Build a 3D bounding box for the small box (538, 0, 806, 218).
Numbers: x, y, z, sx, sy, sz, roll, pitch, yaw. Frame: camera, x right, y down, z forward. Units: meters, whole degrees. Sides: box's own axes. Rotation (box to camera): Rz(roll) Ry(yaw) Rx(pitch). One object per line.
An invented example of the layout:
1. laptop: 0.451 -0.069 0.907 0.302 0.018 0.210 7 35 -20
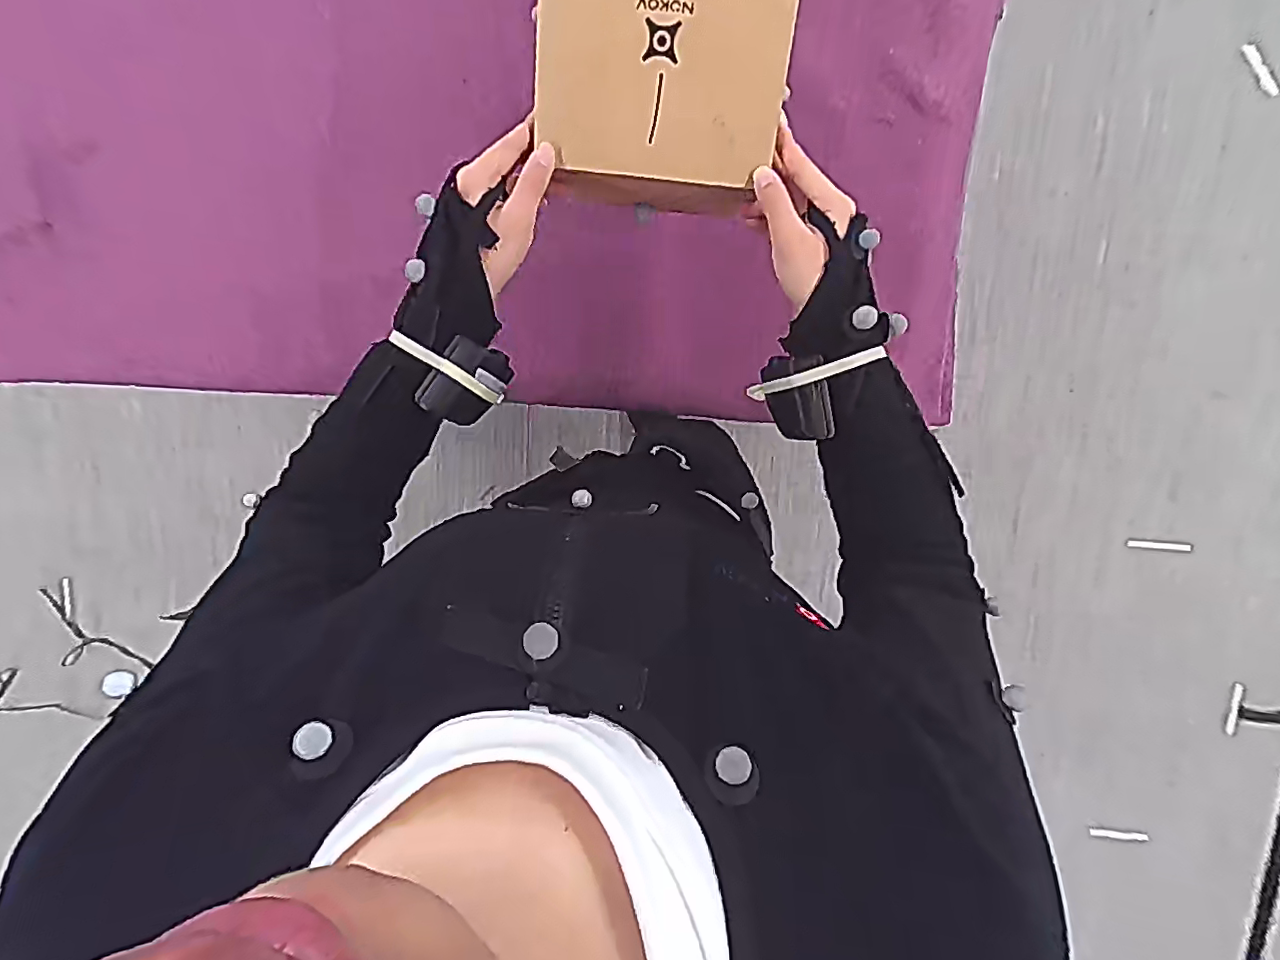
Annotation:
1. small box: 0.023 -0.318 0.419 0.168 0.176 0.179 7 109 0
